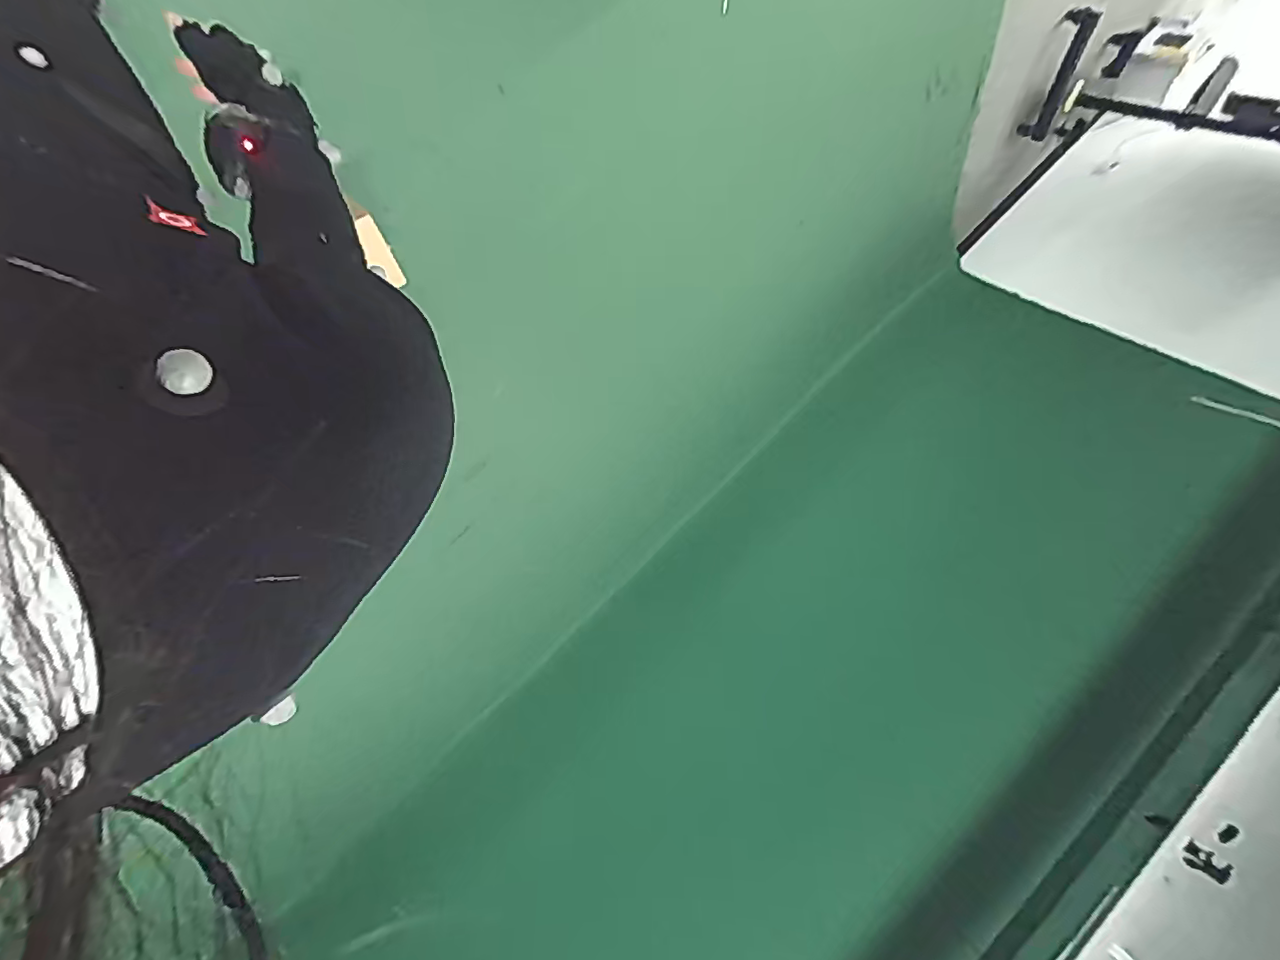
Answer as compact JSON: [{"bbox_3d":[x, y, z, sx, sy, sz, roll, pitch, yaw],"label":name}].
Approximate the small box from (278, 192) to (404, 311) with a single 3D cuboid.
[{"bbox_3d":[-0.695,-0.535,1.261,0.168,0.176,0.179,-39,147,-18],"label":"small box"}]
